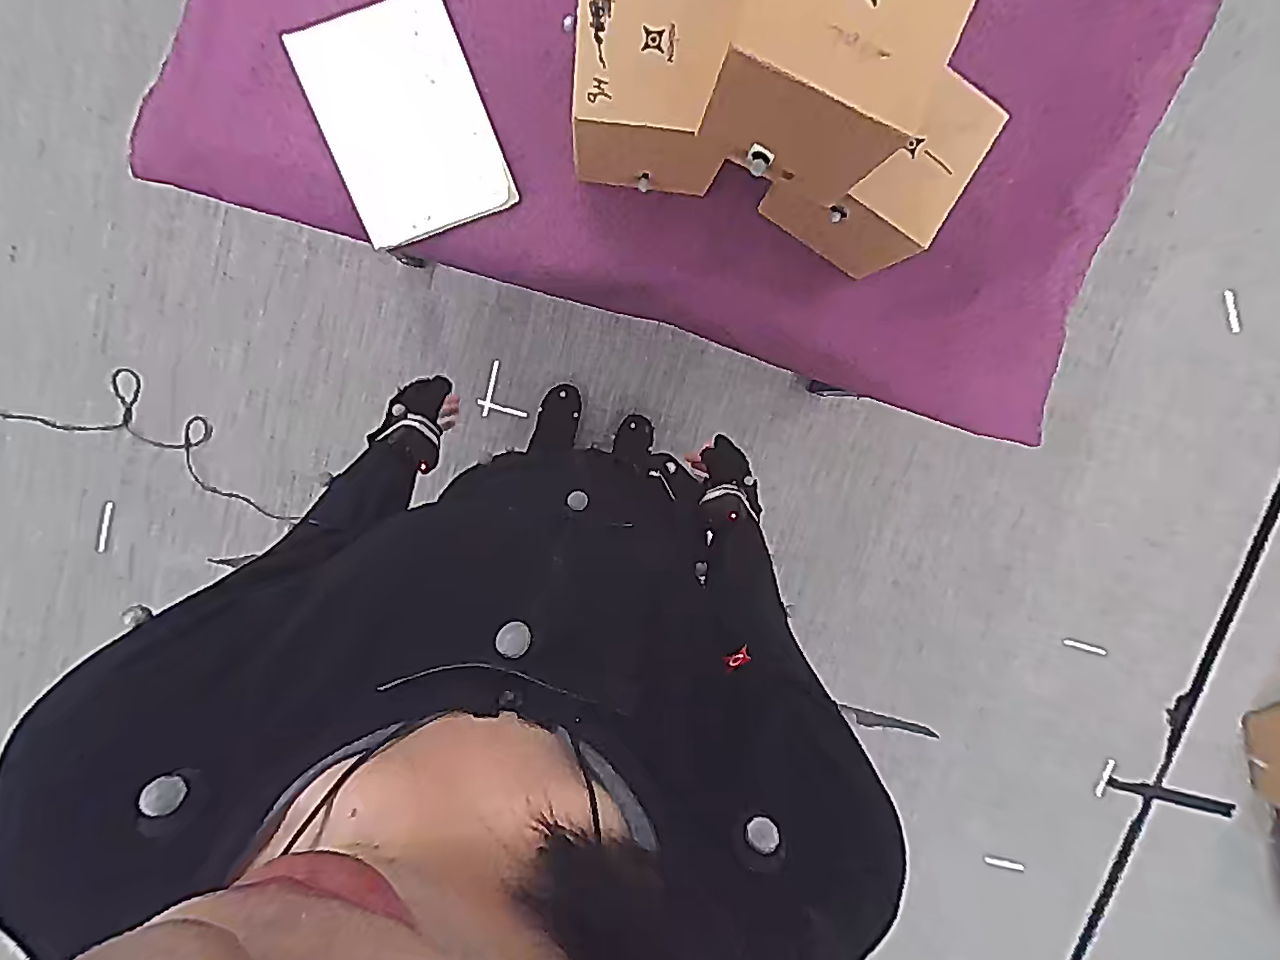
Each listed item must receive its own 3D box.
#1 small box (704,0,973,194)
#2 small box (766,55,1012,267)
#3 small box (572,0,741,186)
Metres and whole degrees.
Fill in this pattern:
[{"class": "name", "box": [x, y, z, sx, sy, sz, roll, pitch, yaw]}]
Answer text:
[{"class": "small box", "box": [0.169, -0.398, 0.482, 0.168, 0.176, 0.179, 21, 97, -6]}, {"class": "small box", "box": [0.281, -0.387, 0.656, 0.179, 0.176, 0.168, 31, 95, -8]}, {"class": "small box", "box": [0.015, -0.463, 0.624, 0.179, 0.176, 0.168, 4, 97, -6]}]
